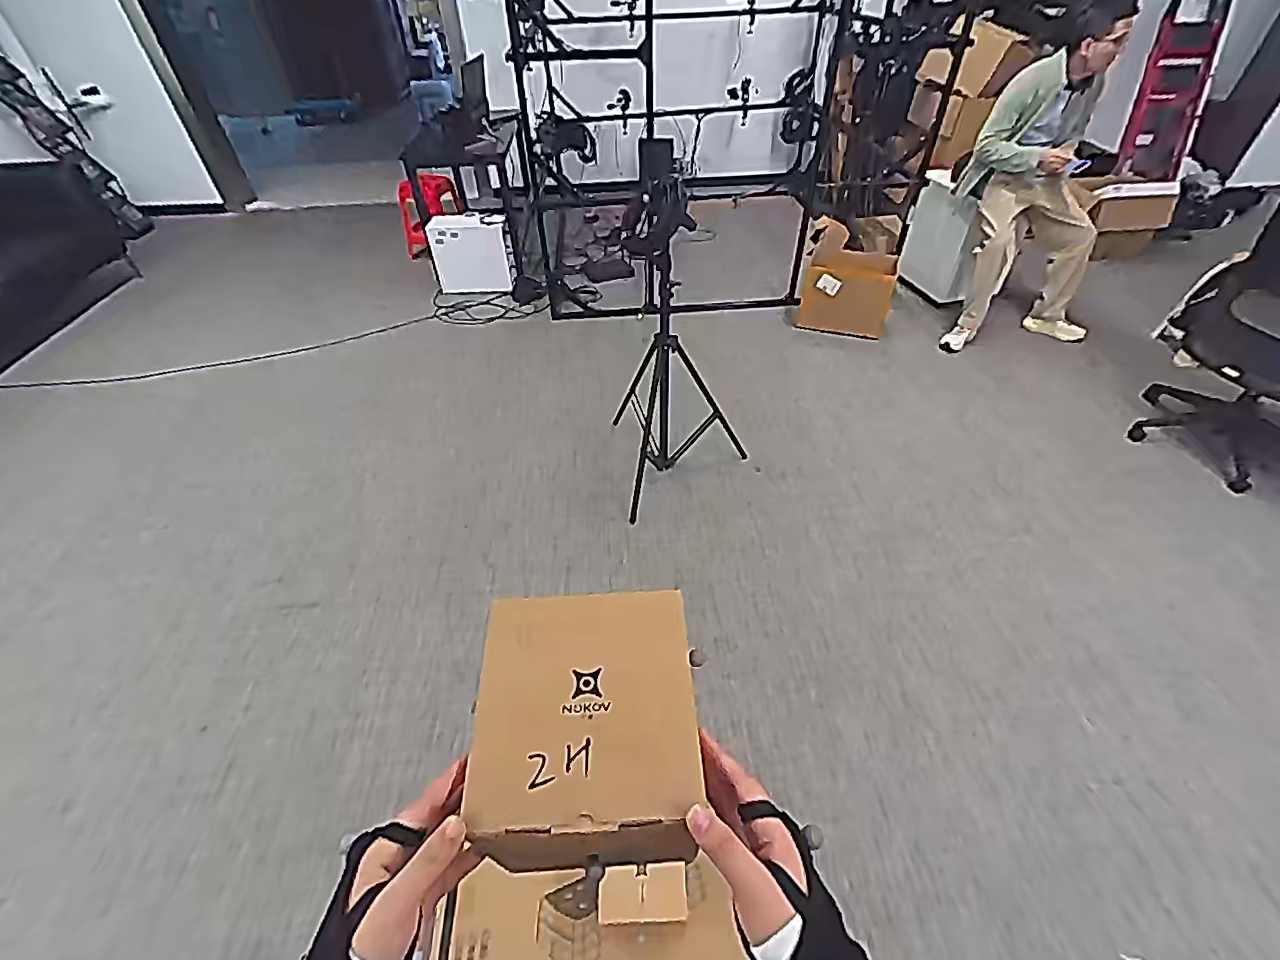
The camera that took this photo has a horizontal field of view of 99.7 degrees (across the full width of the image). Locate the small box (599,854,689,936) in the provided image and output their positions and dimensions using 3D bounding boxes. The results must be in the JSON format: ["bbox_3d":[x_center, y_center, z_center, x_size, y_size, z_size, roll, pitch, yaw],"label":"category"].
[{"bbox_3d":[0.008,0.796,1.091,0.168,0.176,0.179,-2,44,0],"label":"small box"}]

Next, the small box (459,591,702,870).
[{"bbox_3d":[-0.042,0.218,0.473,0.168,0.176,0.179,-3,47,-1],"label":"small box"}]
